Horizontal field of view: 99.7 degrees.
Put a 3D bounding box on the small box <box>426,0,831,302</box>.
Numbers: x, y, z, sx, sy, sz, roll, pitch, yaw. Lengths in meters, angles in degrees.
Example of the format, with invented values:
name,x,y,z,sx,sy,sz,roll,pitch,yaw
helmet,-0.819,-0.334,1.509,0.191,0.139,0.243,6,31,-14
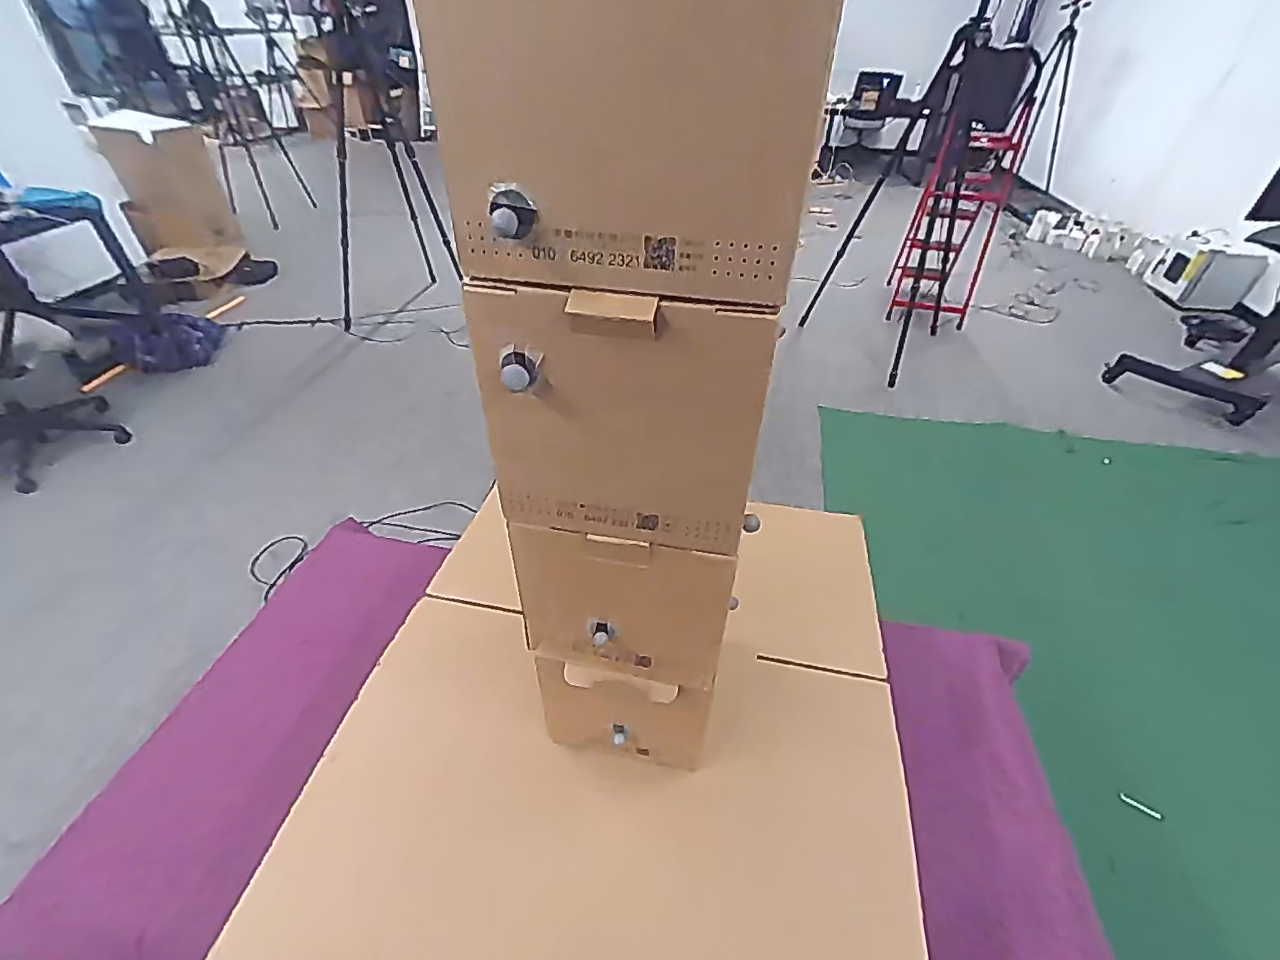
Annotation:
name,x,y,z,sx,sy,sz,roll,pitch,yaw
small box,0.007,-0.208,0.290,0.168,0.176,0.179,9,38,8

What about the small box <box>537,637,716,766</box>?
name,x,y,z,sx,sy,sz,roll,pitch,yaw
small box,-0.002,0.178,0.597,0.168,0.176,0.179,8,40,9

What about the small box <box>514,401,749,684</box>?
name,x,y,z,sx,sy,sz,roll,pitch,yaw
small box,0.000,0.052,0.494,0.168,0.176,0.179,8,40,8
